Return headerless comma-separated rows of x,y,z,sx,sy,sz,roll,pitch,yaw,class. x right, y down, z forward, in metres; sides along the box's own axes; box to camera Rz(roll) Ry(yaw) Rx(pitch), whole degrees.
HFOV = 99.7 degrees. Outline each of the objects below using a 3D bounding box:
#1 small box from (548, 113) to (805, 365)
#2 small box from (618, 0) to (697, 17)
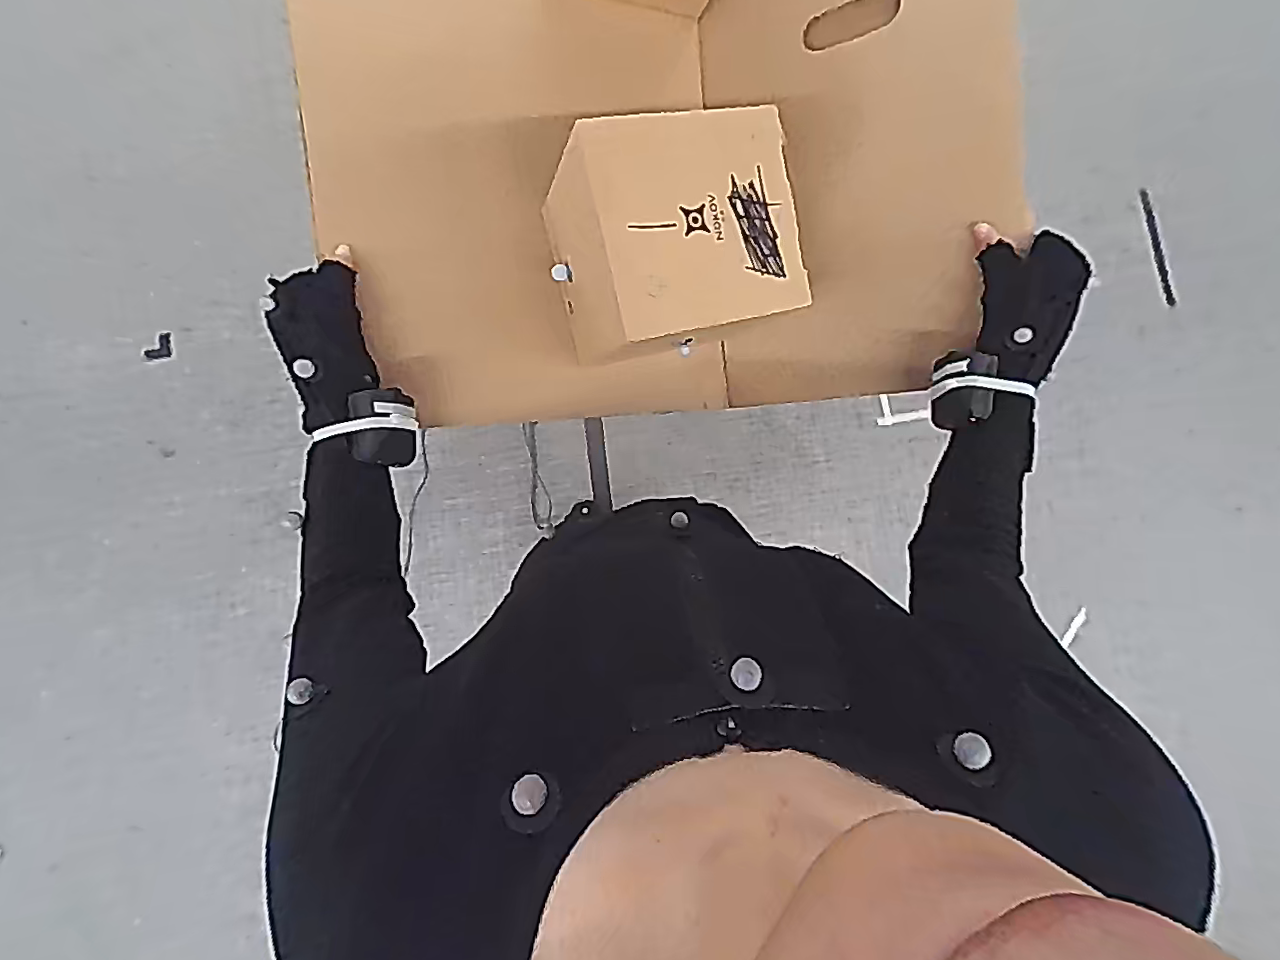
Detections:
0.025,-0.215,0.517,0.179,0.176,0.168,-16,98,-16,small box
0.002,-0.576,0.489,0.179,0.176,0.168,-3,94,-19,small box
